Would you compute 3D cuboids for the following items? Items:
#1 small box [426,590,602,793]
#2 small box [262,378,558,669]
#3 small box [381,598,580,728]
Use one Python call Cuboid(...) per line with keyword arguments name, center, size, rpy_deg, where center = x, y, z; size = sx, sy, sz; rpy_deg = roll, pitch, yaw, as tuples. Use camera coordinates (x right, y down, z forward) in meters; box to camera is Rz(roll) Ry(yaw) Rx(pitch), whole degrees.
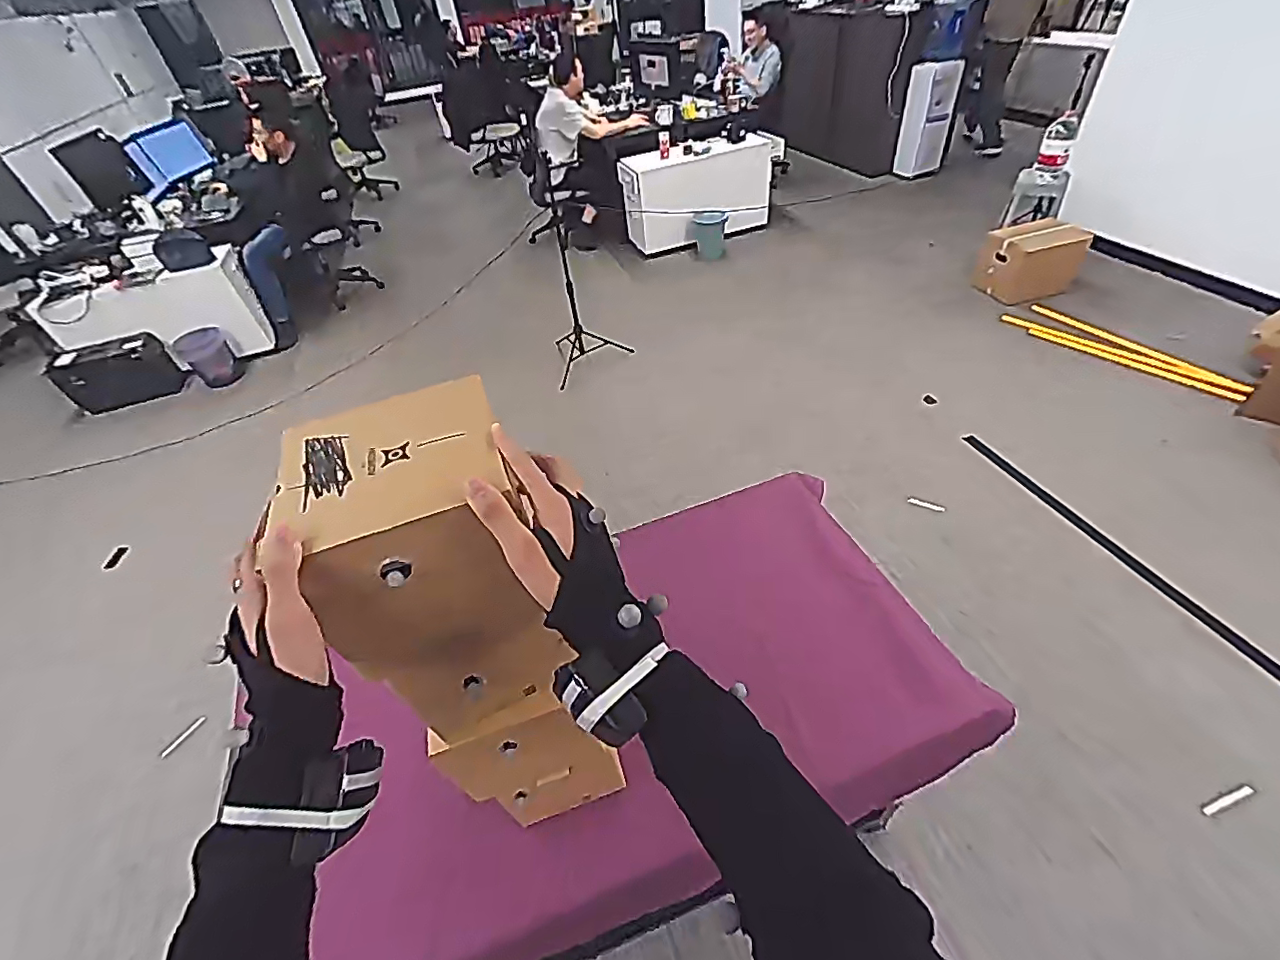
Cuboid(name="small box", center=(-0.161, 0.277, 0.706), size=(0.179, 0.176, 0.168), rpy_deg=(-17, 45, -8))
Cuboid(name="small box", center=(-0.188, 0.039, 0.485), size=(0.179, 0.176, 0.168), rpy_deg=(-18, 45, -10))
Cuboid(name="small box", center=(-0.181, 0.149, 0.607), size=(0.168, 0.176, 0.179), rpy_deg=(-23, 45, -14))
